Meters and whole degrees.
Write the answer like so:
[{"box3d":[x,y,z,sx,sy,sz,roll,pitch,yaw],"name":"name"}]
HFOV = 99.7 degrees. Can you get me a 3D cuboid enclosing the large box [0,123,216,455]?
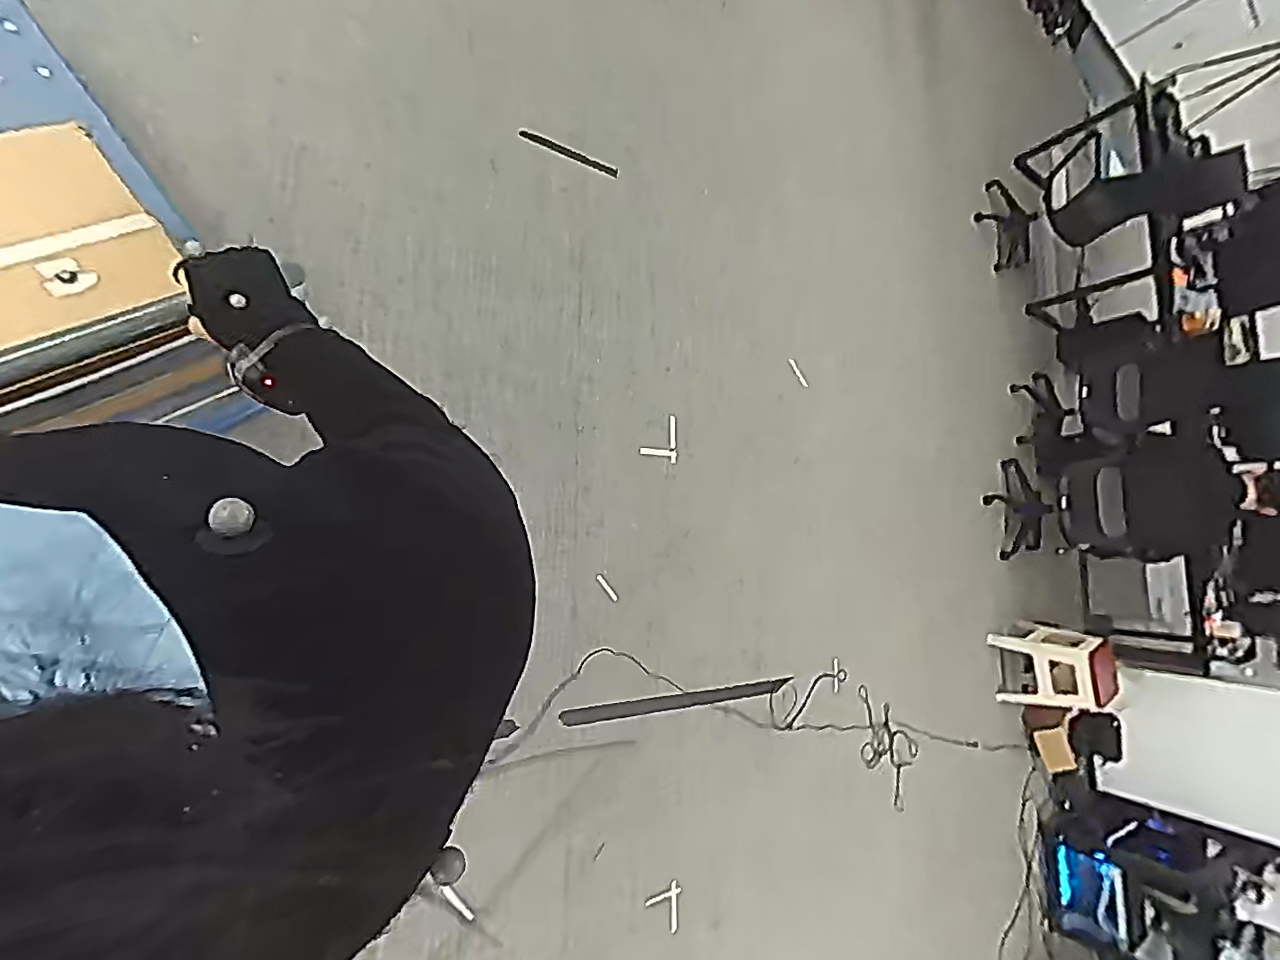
[{"box3d":[-0.972,-0.266,0.833,0.408,0.320,0.320,-40,108,-33],"name":"large box"}]
